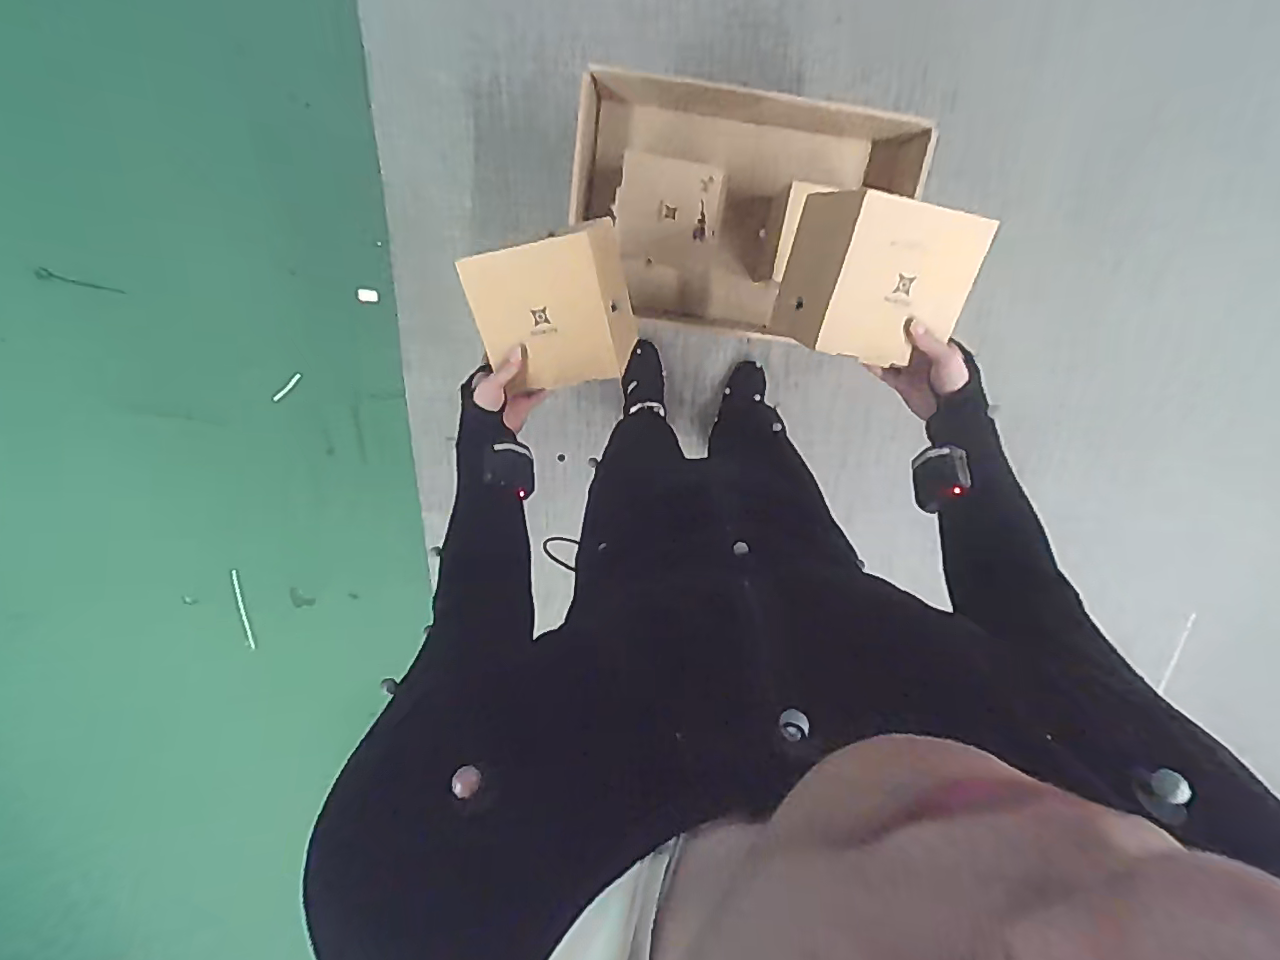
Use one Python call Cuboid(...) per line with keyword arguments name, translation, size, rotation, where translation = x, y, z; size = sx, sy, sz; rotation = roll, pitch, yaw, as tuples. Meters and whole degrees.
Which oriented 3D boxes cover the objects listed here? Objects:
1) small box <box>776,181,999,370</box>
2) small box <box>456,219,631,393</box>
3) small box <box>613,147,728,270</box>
Cuboid(name="small box", translation=(0.288, -0.256, 0.678), size=(0.168, 0.176, 0.179), rotation=(8, 115, -10))
Cuboid(name="small box", translation=(-0.113, -0.238, 0.720), size=(0.168, 0.176, 0.179), rotation=(-8, 120, 11))
Cuboid(name="small box", translation=(0.053, -0.498, 1.017), size=(0.179, 0.176, 0.168), rotation=(11, 109, -2))
